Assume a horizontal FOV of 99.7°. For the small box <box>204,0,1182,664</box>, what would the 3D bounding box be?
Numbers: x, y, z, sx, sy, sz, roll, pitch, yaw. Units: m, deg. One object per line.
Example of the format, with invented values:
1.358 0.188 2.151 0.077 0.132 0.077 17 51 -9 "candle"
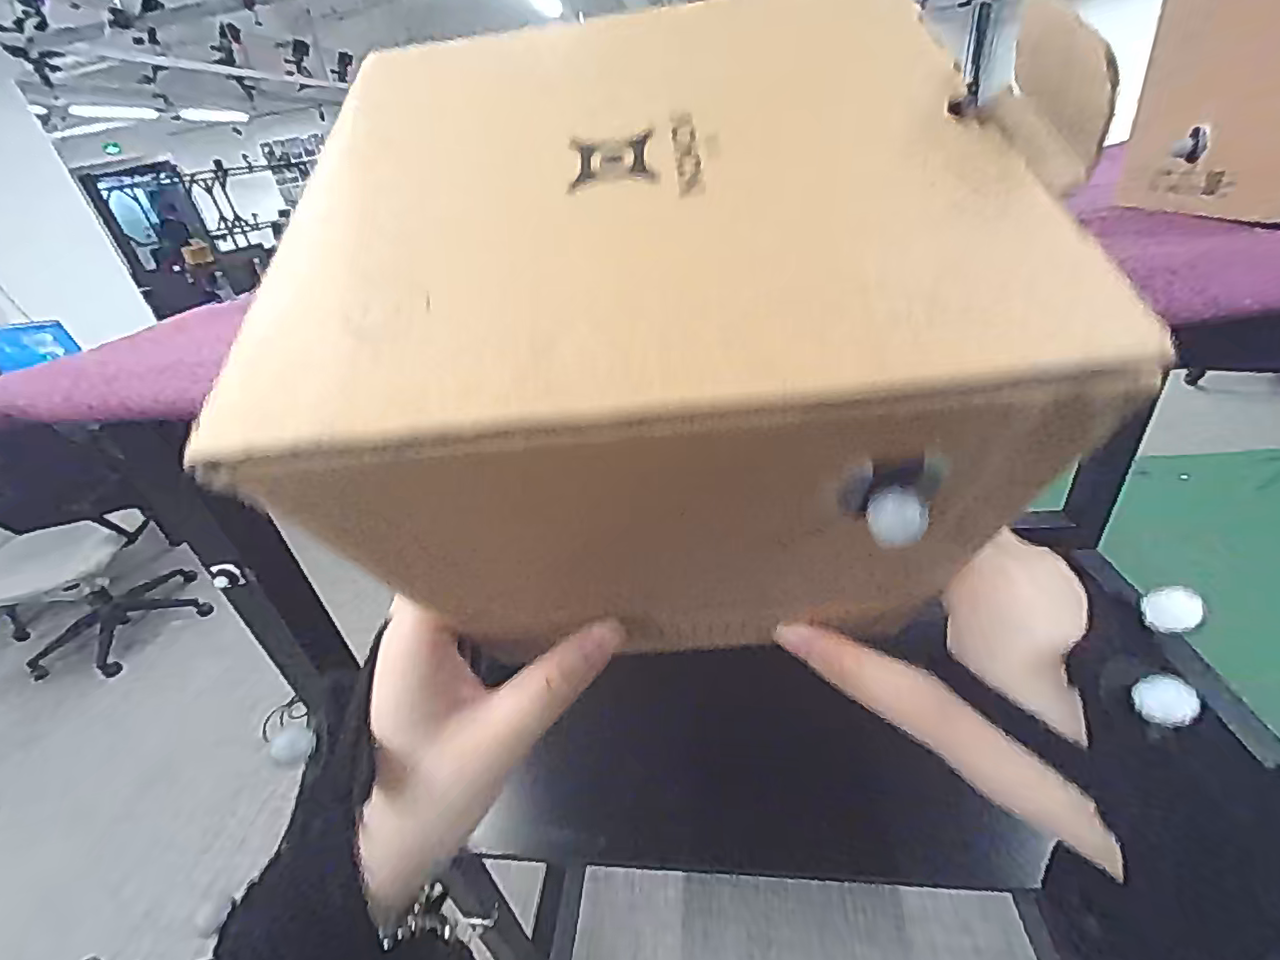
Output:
0.009 -0.034 0.202 0.179 0.176 0.168 -6 60 4 "small box"
